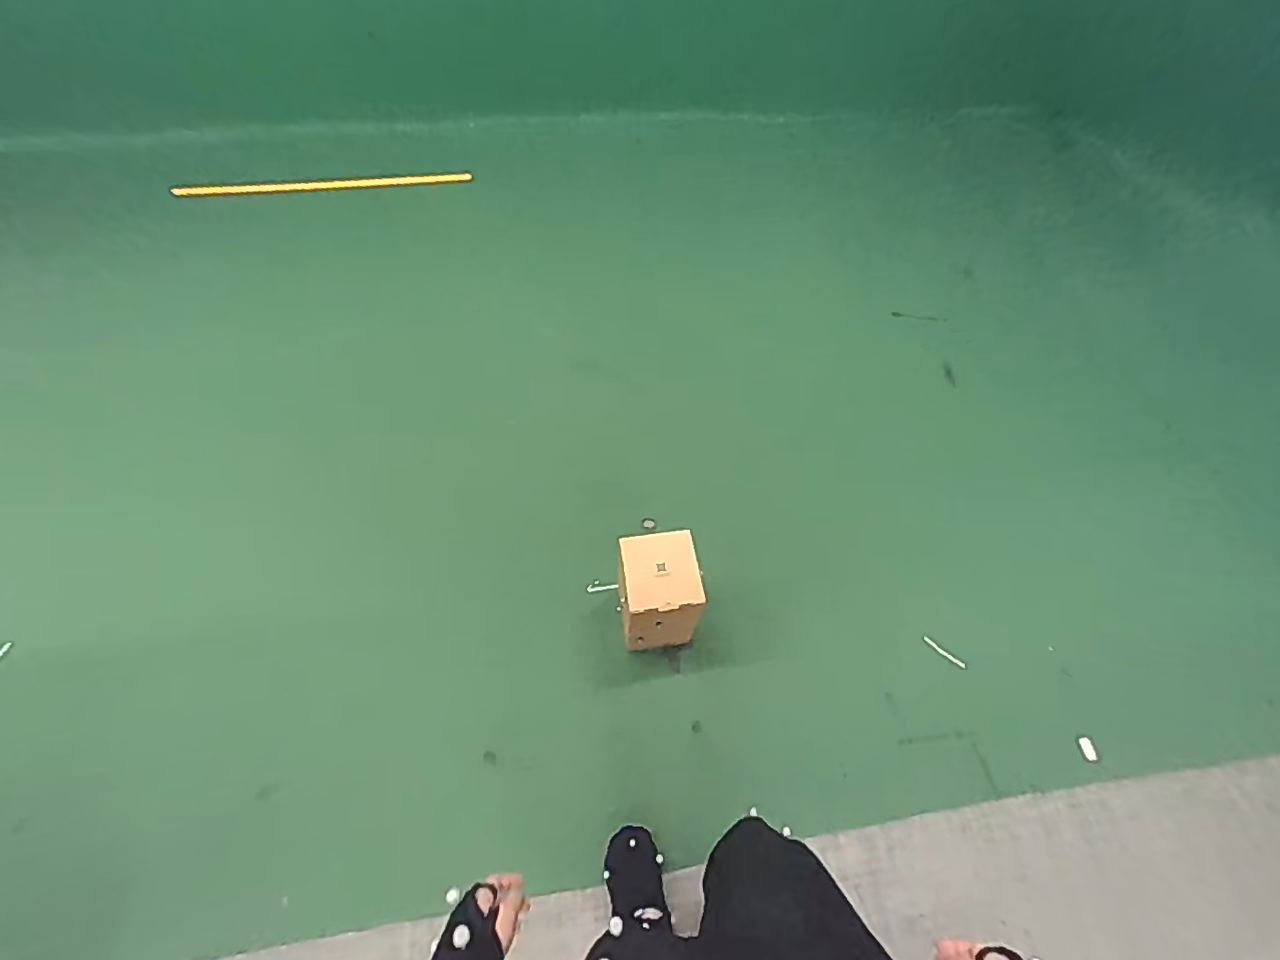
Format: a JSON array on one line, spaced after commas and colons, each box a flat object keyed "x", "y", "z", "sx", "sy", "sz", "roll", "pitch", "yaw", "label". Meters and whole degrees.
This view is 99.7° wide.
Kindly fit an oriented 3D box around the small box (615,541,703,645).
[{"x": 0.036, "y": 0.261, "z": 1.237, "sx": 0.168, "sy": 0.176, "sz": 0.179, "roll": -5, "pitch": 58, "yaw": -8, "label": "small box"}]
